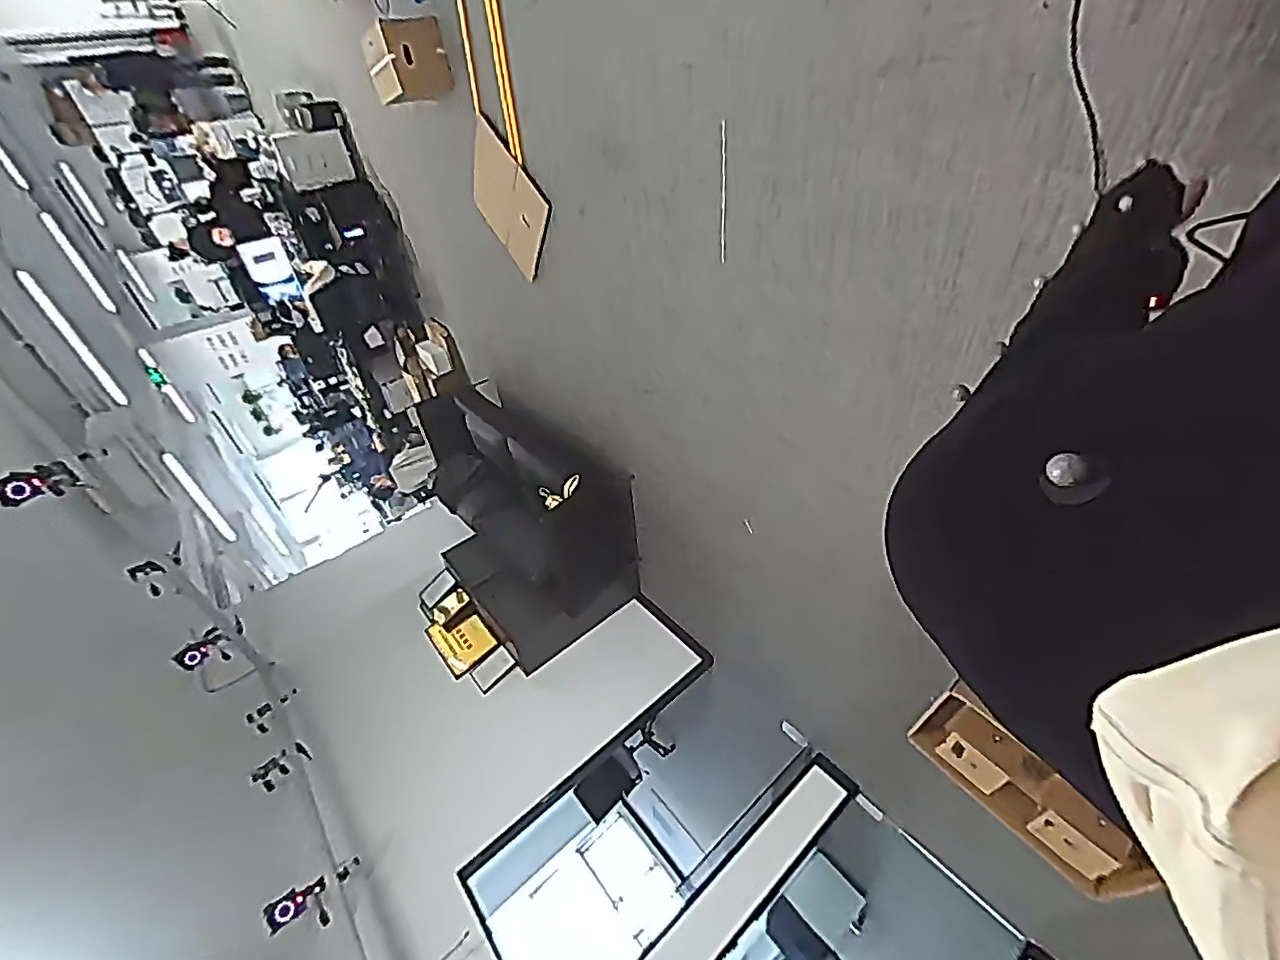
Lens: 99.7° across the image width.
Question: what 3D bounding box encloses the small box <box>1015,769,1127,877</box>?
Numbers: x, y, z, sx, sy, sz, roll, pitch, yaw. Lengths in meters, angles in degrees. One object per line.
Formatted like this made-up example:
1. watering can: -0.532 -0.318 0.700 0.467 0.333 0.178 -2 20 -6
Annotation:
1. small box: 1.230 0.976 1.544 0.179 0.176 0.168 37 145 34
